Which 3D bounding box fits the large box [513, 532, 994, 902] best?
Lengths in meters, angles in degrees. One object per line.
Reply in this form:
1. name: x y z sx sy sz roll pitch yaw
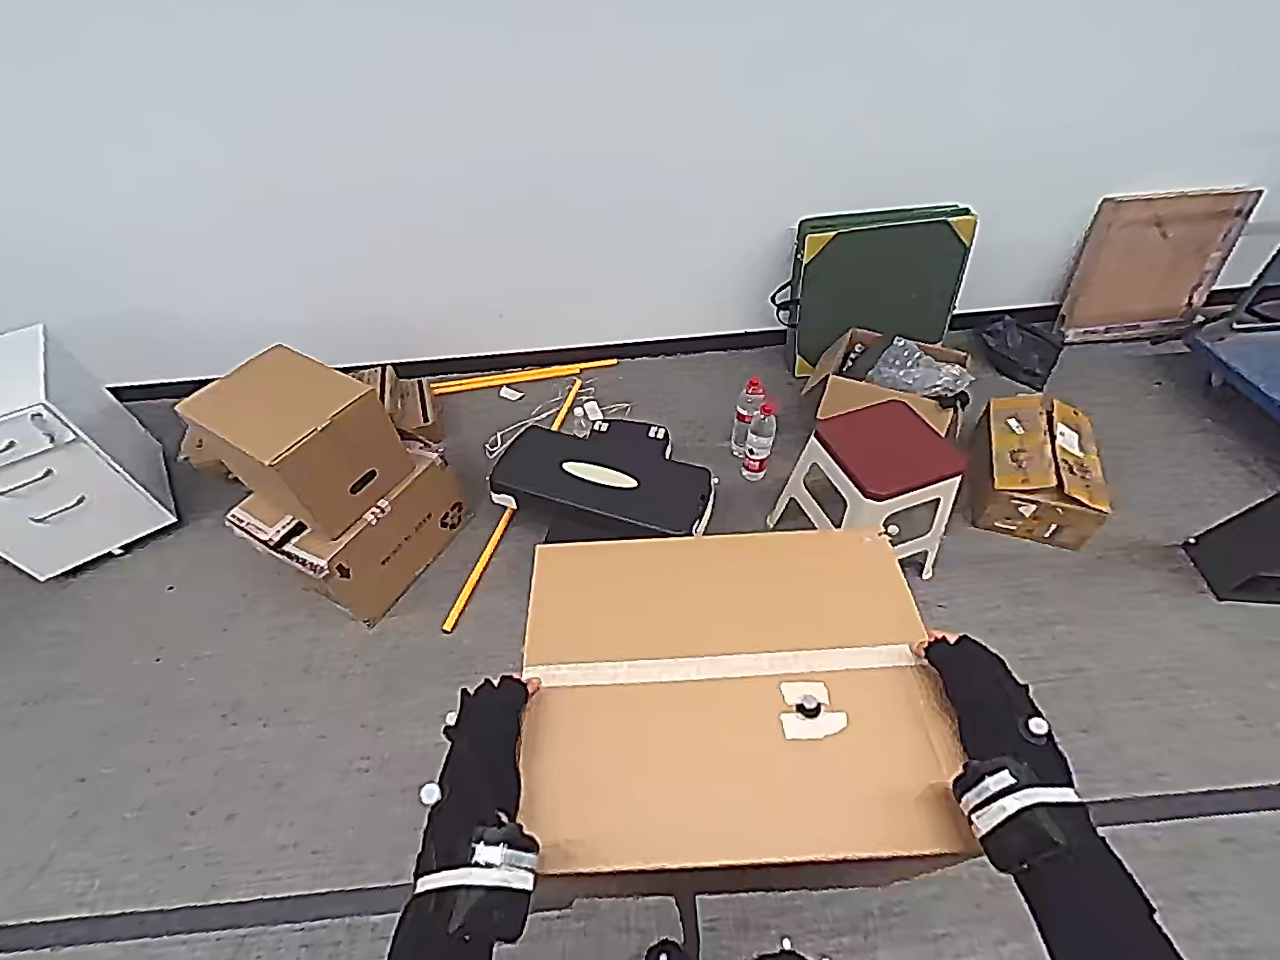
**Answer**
1. large box: 0.090 0.285 0.645 0.408 0.320 0.320 -3 49 0
